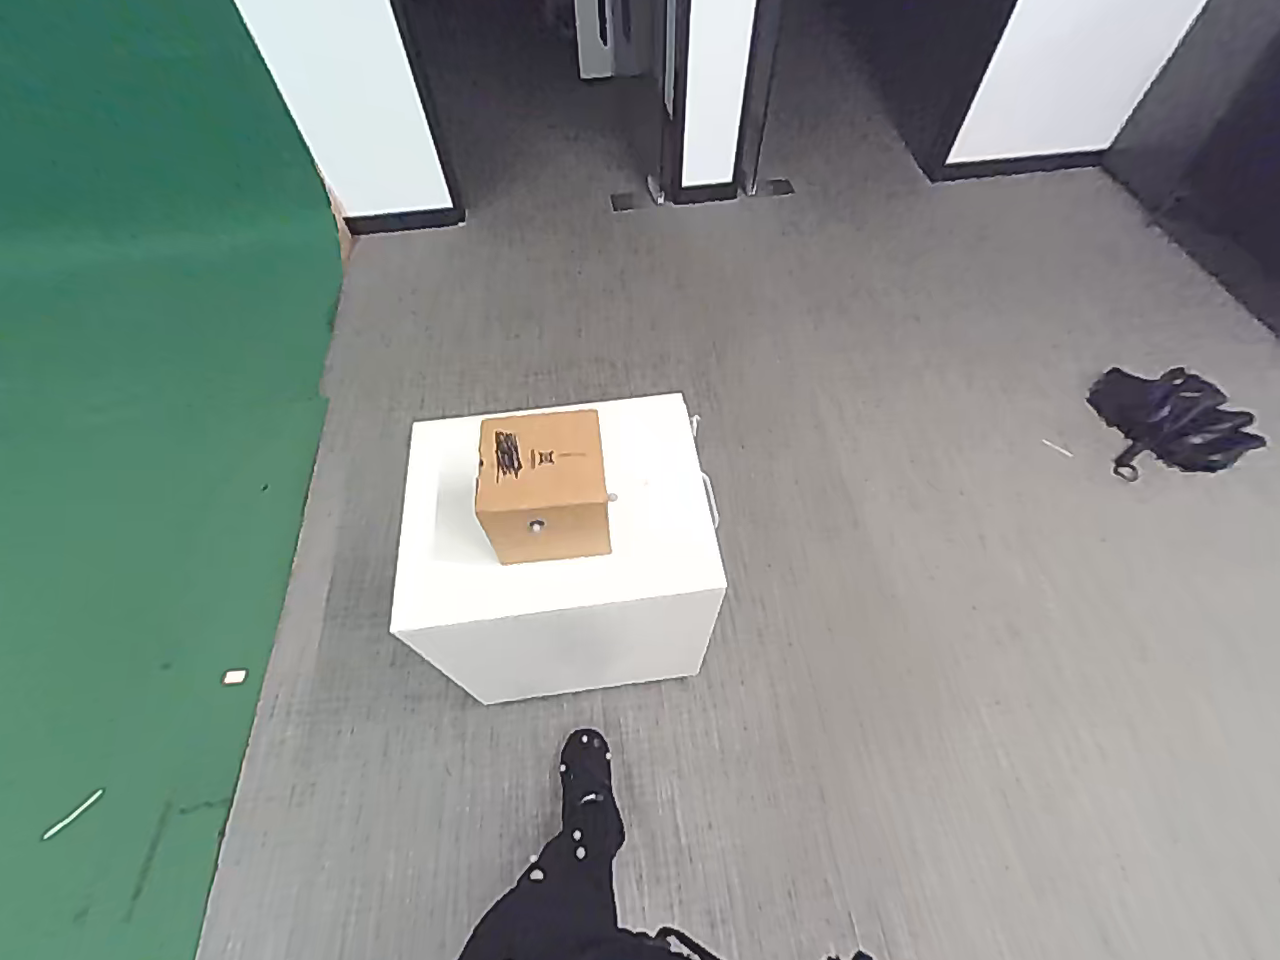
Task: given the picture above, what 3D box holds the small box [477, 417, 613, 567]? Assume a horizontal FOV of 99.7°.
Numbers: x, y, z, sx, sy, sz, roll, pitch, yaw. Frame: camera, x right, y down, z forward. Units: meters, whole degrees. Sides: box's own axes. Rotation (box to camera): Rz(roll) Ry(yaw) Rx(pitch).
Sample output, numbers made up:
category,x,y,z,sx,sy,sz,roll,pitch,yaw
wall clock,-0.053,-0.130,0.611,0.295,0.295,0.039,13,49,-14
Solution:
category,x,y,z,sx,sy,sz,roll,pitch,yaw
small box,-0.138,0.024,0.836,0.179,0.176,0.168,-5,56,-3
